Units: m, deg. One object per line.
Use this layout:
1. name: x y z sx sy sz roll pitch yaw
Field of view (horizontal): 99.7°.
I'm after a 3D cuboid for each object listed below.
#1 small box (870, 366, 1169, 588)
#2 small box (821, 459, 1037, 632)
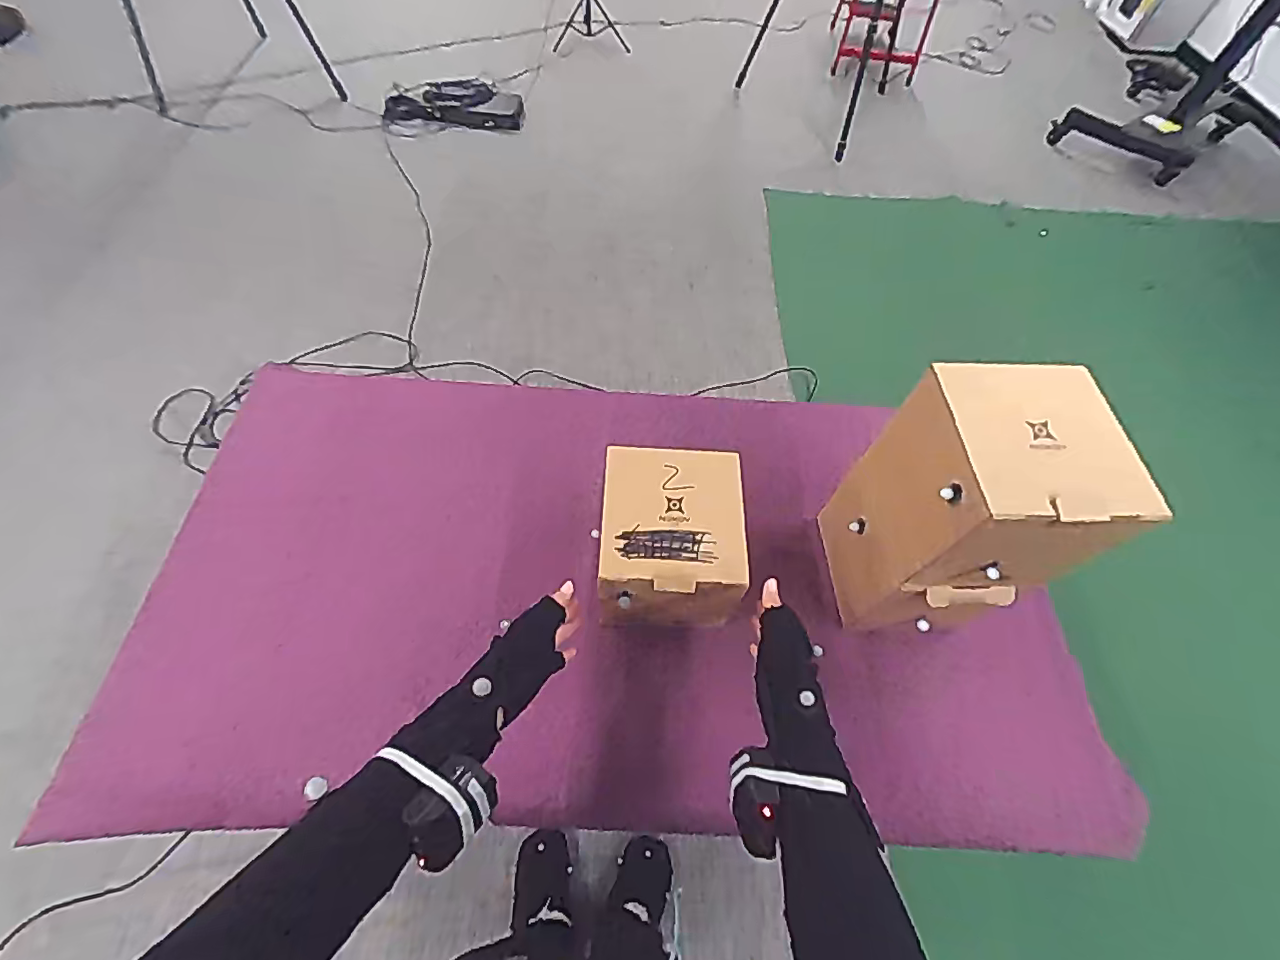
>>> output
1. small box: 0.369 0.003 0.572 0.168 0.176 0.179 1 60 -4
2. small box: 0.355 0.089 0.709 0.168 0.176 0.179 0 59 -4
